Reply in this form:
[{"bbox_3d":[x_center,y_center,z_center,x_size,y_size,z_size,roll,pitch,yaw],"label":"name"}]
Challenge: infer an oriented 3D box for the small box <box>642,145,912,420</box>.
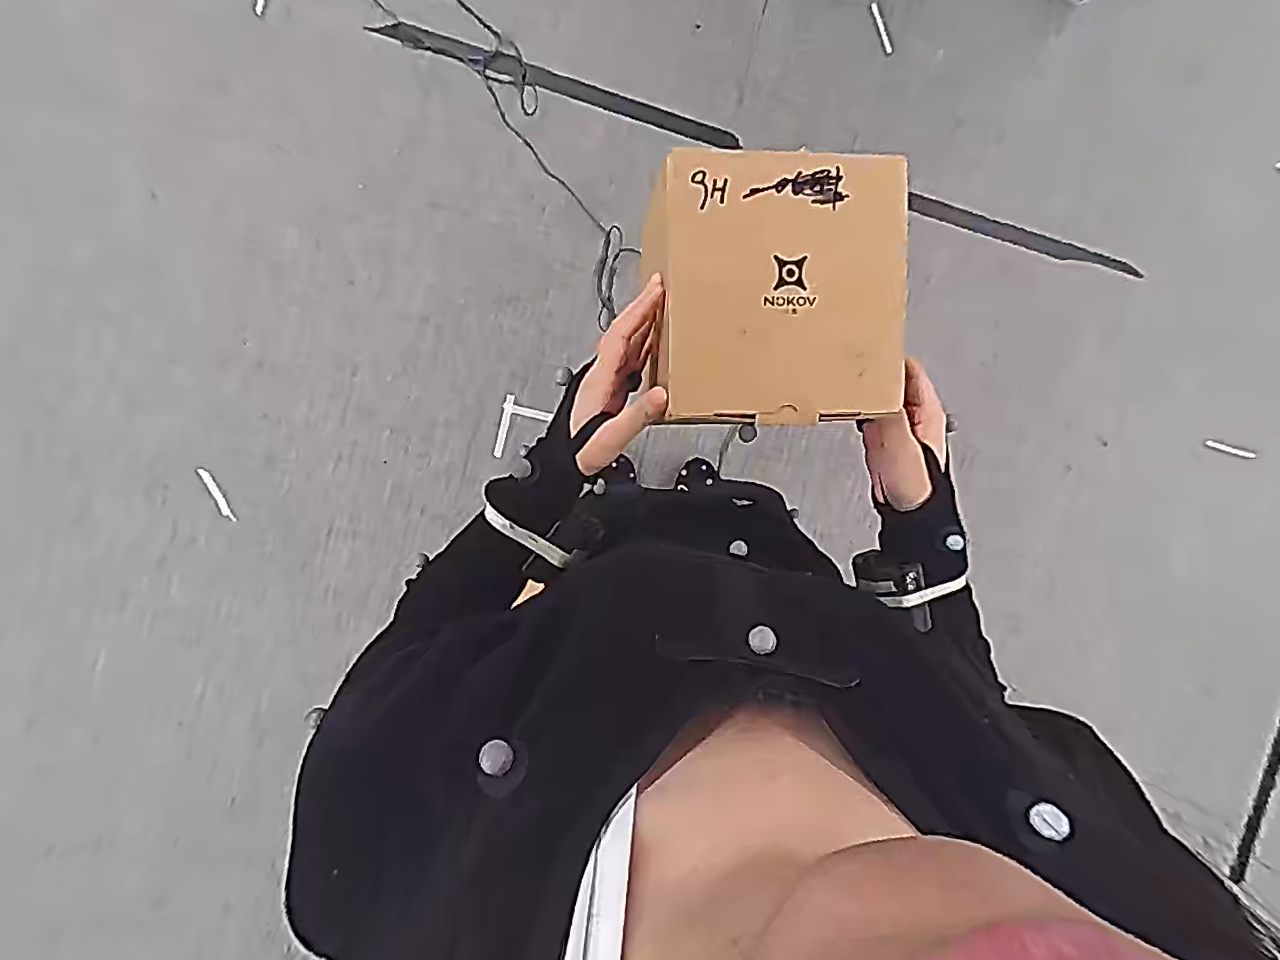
[{"bbox_3d":[0.092,-0.137,0.440,0.168,0.176,0.179,-1,95,-6],"label":"small box"}]
